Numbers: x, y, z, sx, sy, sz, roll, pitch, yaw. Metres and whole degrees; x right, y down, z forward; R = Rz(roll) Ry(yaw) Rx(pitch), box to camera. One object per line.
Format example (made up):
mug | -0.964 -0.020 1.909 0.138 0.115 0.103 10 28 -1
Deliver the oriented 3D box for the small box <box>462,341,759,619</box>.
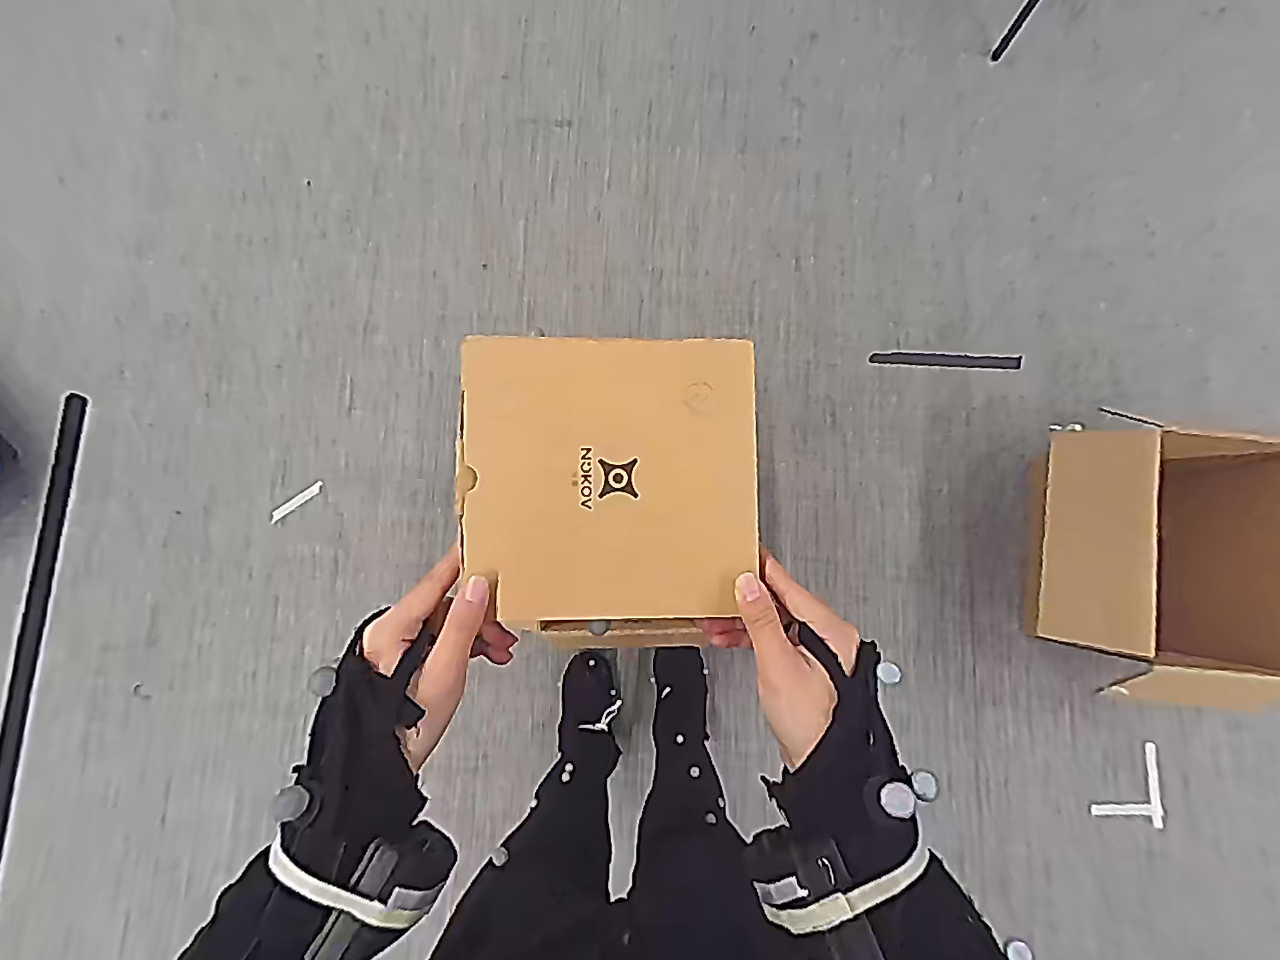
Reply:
small box | -0.020 0.002 0.398 0.179 0.176 0.168 -1 87 -1
